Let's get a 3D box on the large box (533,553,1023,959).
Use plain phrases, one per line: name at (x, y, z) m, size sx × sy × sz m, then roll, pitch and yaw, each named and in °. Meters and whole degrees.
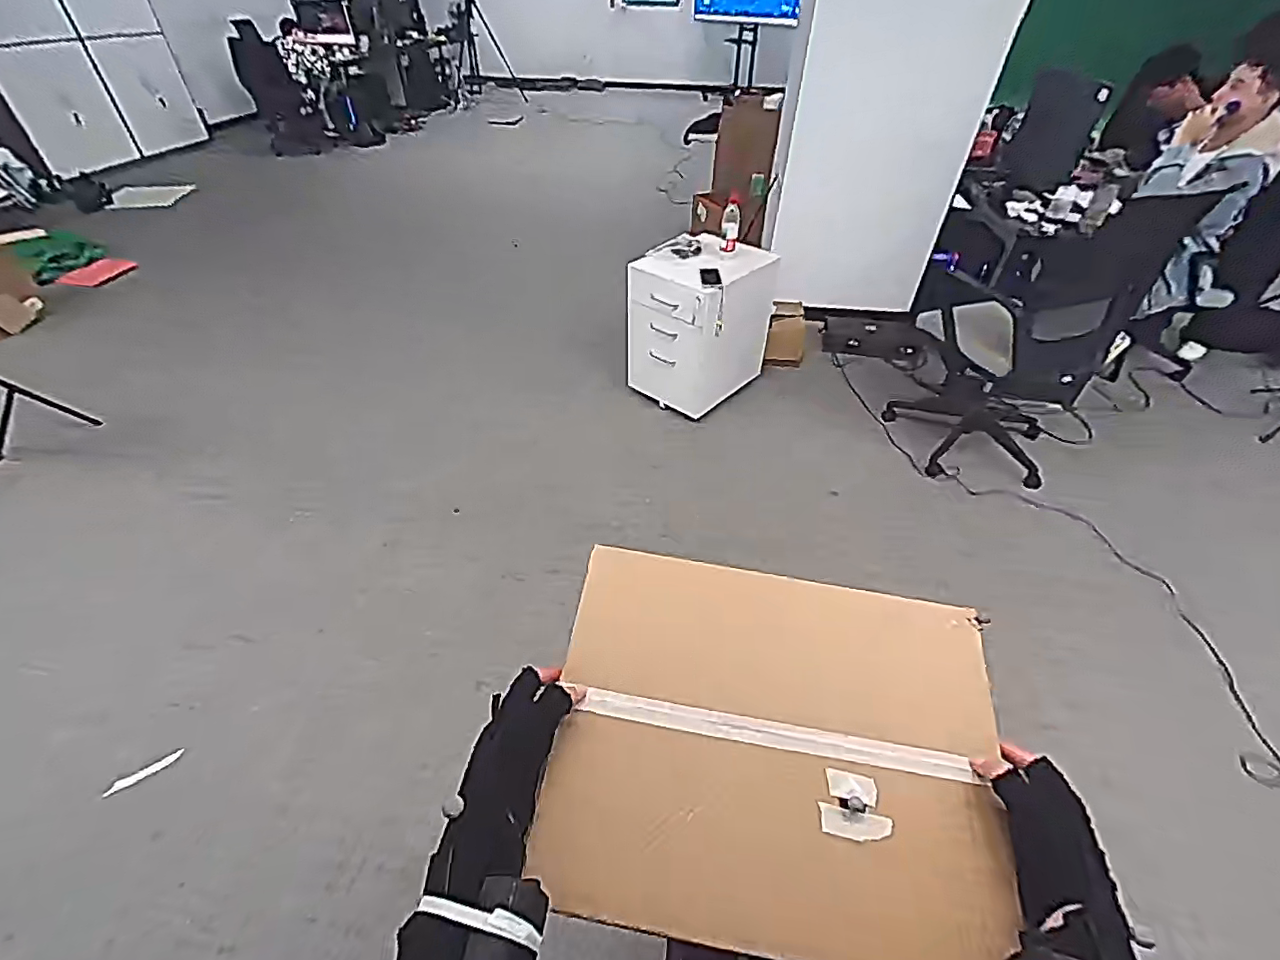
large box at (0.120, 0.314, 0.636) m, size 0.408 × 0.320 × 0.320 m, roll 9°, pitch 58°, yaw 3°
